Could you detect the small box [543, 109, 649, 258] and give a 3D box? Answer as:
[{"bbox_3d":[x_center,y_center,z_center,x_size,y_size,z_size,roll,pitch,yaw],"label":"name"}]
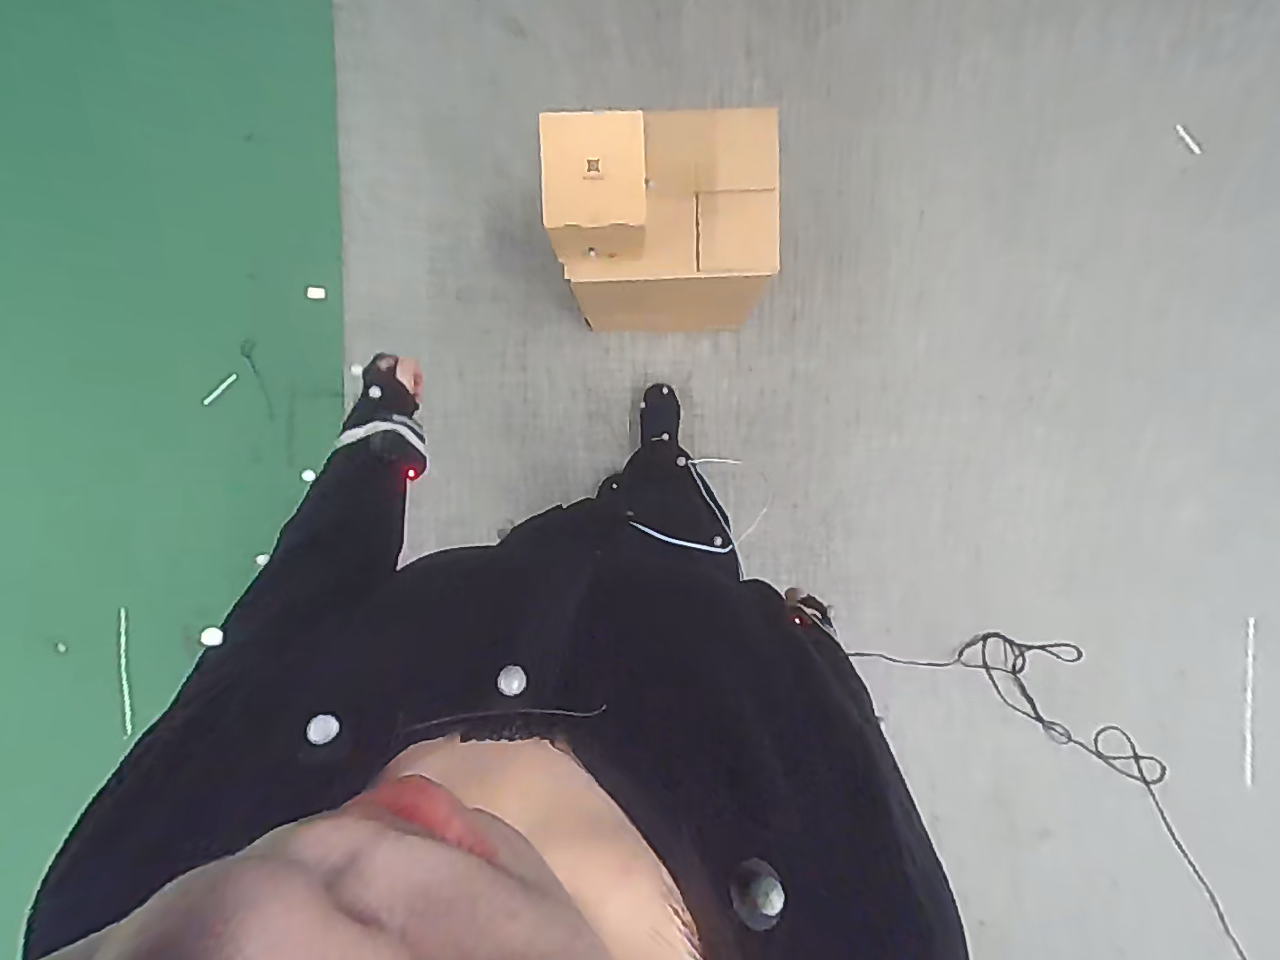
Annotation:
[{"bbox_3d":[-0.072,-0.498,0.928,0.168,0.176,0.179,-2,96,-1],"label":"small box"}]
